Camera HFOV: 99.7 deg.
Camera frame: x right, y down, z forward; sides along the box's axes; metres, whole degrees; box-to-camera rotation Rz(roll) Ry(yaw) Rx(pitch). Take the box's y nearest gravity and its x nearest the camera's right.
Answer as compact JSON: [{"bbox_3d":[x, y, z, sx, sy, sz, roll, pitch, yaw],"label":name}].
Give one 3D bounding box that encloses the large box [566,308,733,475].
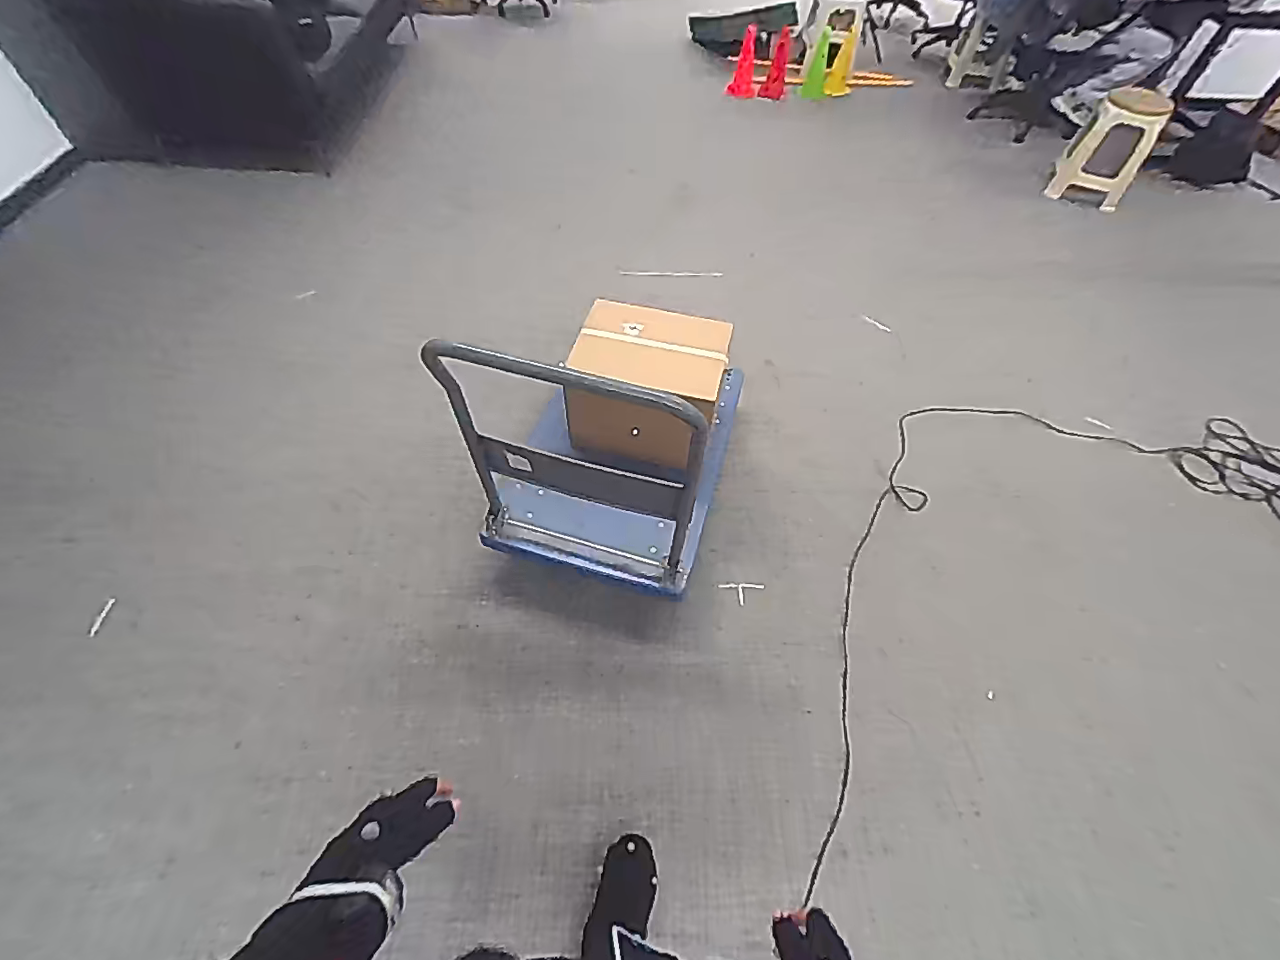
[{"bbox_3d":[0.035,-0.254,1.580,0.408,0.320,0.320,13,54,8],"label":"large box"}]
